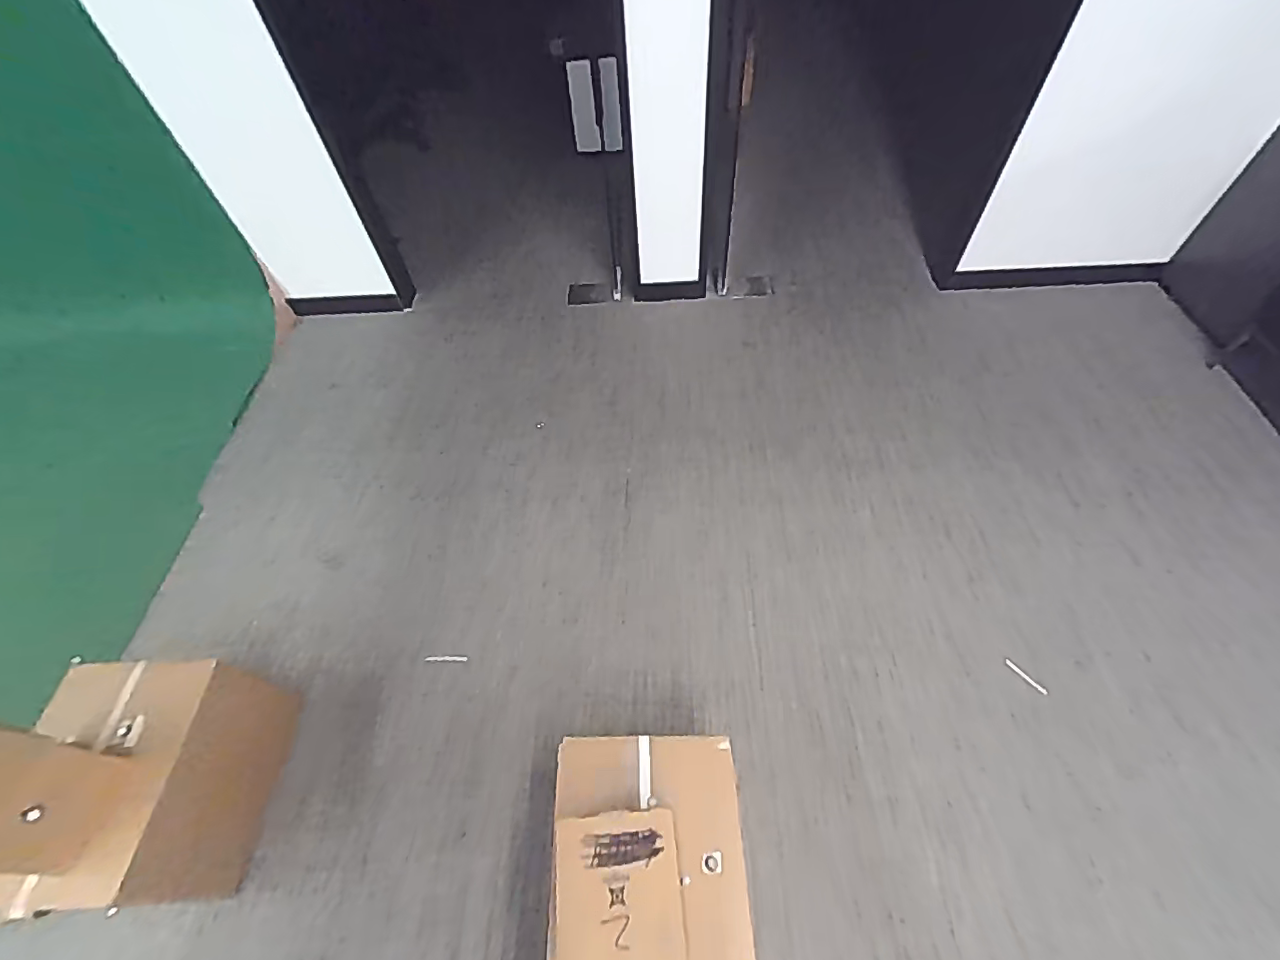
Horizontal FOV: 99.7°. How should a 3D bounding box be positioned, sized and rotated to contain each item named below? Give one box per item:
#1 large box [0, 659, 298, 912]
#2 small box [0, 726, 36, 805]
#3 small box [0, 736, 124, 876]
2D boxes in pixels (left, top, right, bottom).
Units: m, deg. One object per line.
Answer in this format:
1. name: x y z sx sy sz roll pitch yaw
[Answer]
1. large box: -0.996 0.620 1.107 0.320 0.320 0.408 -2 54 2
2. small box: -1.028 0.421 0.753 0.168 0.176 0.179 9 57 11
3. small box: -1.014 0.522 0.880 0.168 0.176 0.179 6 56 9
